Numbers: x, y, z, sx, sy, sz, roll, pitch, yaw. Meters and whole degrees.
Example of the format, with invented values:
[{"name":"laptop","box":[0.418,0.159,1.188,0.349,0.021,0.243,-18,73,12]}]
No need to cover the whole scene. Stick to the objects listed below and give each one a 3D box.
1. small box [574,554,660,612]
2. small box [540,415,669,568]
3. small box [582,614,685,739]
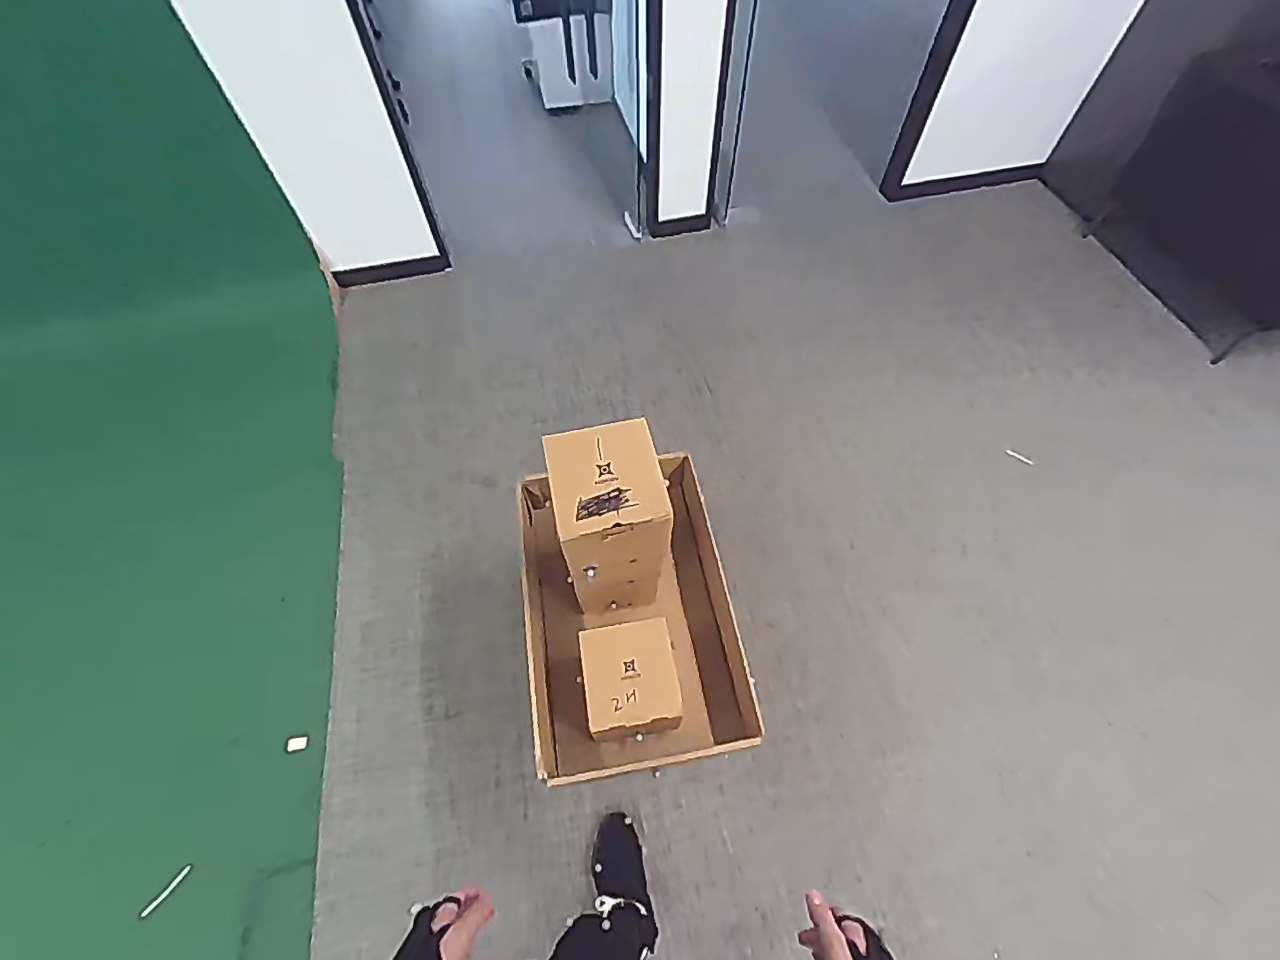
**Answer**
[{"name":"small box","box":[-0.058,0.164,1.158,0.168,0.176,0.179,-10,62,-6]},{"name":"small box","box":[-0.053,0.027,0.859,0.168,0.176,0.179,-12,62,-6]},{"name":"small box","box":[-0.015,0.374,1.024,0.168,0.176,0.179,-9,58,-4]}]
